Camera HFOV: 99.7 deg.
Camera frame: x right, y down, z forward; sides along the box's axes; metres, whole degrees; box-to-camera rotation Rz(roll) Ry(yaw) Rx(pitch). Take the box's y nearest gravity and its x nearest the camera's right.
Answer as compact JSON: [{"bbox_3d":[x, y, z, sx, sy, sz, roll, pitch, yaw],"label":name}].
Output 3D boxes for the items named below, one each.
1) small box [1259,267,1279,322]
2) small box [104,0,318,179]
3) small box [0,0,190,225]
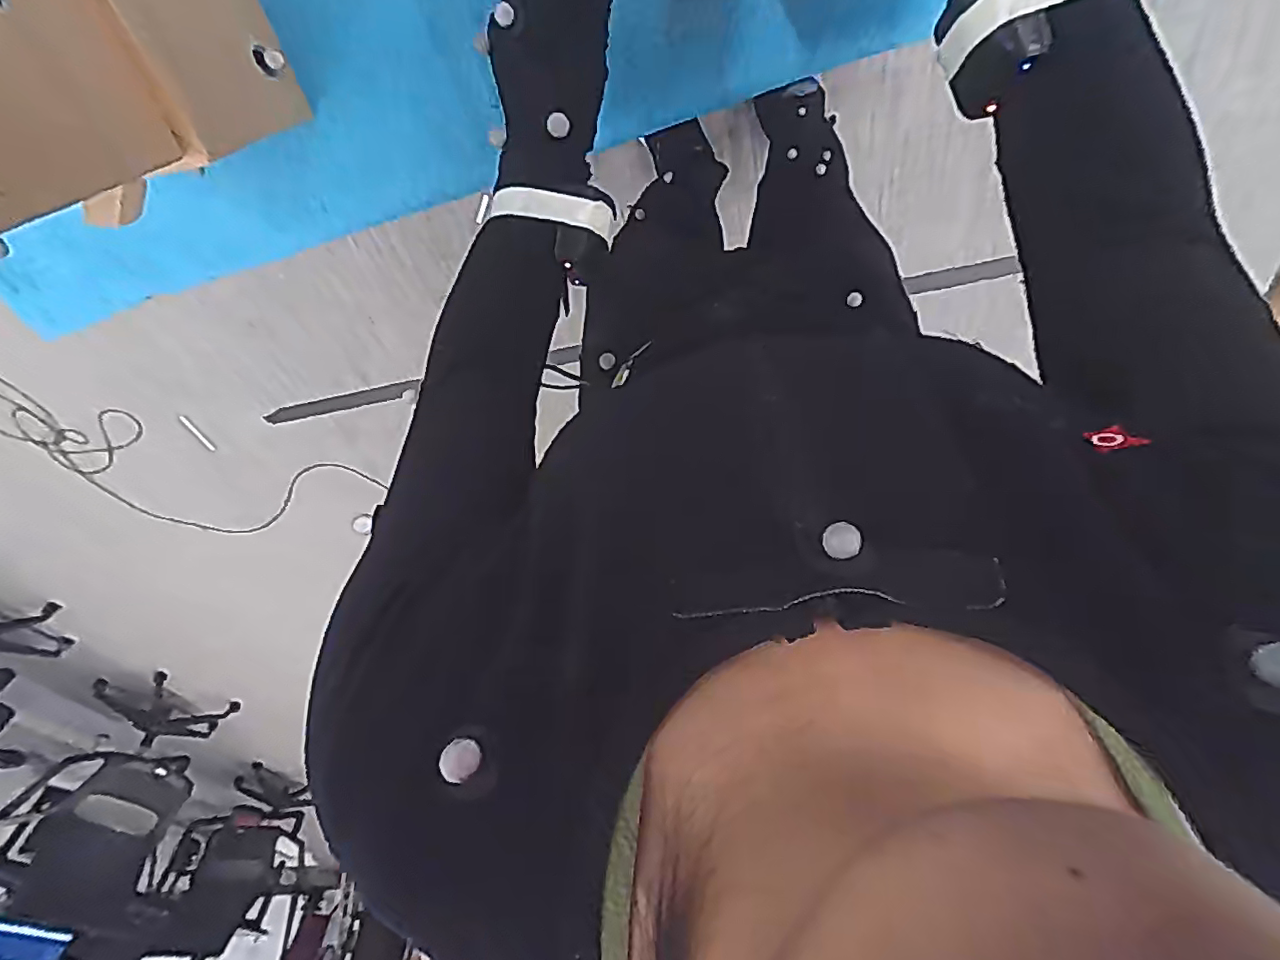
[{"bbox_3d":[1.623,-0.452,1.252,0.168,0.176,0.179,-7,134,7],"label":"small box"},{"bbox_3d":[-0.396,-0.337,0.402,0.168,0.176,0.179,-7,133,7],"label":"small box"},{"bbox_3d":[-0.408,-0.231,0.275,0.168,0.176,0.179,-4,134,5],"label":"small box"}]
